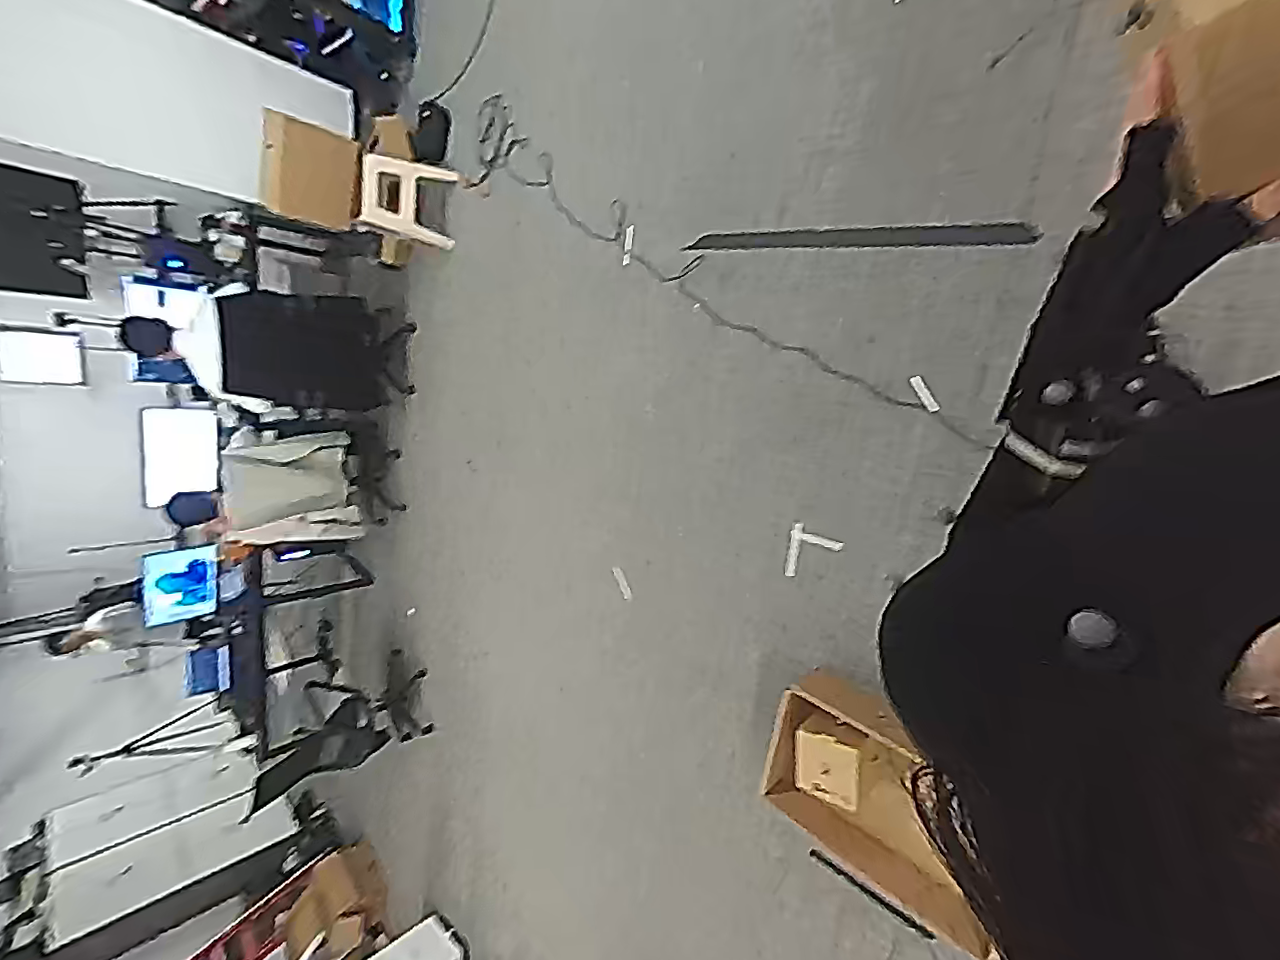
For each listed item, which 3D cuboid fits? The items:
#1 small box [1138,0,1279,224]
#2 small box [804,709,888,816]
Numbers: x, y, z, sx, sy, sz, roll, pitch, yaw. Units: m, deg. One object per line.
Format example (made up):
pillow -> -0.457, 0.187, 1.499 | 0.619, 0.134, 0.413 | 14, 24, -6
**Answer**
small box -> 0.371, -0.275, 0.269 | 0.168, 0.176, 0.179 | -15, 55, 42
small box -> 0.563, 0.755, 1.473 | 0.168, 0.176, 0.179 | 4, 97, 43
